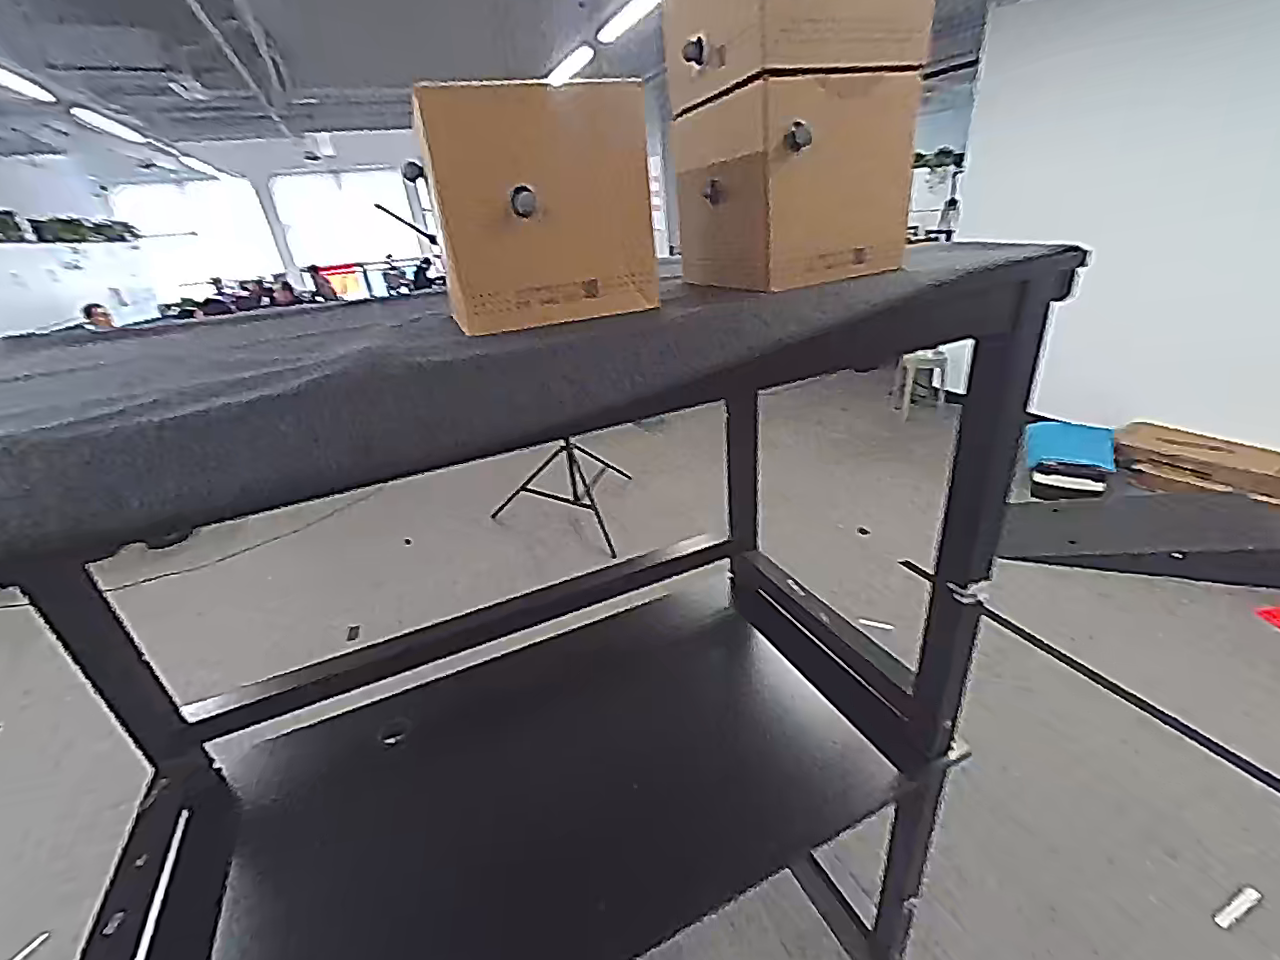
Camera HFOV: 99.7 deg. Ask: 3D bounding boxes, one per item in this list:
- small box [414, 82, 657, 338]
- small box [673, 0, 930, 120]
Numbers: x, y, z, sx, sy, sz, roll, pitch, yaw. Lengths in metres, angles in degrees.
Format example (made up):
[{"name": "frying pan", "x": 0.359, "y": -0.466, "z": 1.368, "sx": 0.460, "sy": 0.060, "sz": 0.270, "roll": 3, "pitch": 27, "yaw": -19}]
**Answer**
[{"name": "small box", "x": -0.093, "y": -0.229, "z": 0.483, "sx": 0.168, "sy": 0.176, "sz": 0.179, "roll": -14, "pitch": 26, "yaw": -16}, {"name": "small box", "x": 0.135, "y": -0.435, "z": 0.478, "sx": 0.179, "sy": 0.176, "sz": 0.168, "roll": -17, "pitch": 25, "yaw": -18}]
